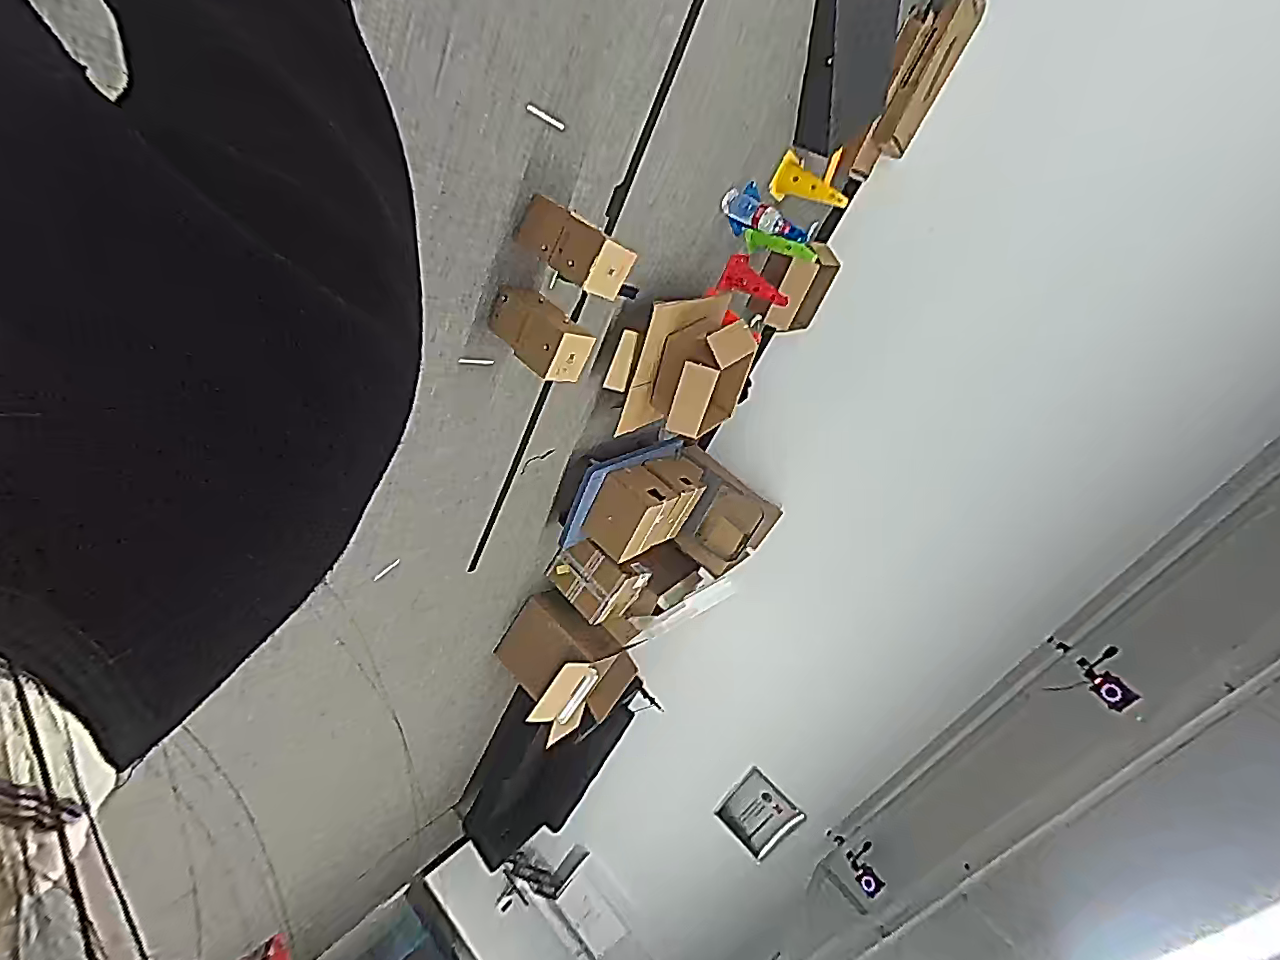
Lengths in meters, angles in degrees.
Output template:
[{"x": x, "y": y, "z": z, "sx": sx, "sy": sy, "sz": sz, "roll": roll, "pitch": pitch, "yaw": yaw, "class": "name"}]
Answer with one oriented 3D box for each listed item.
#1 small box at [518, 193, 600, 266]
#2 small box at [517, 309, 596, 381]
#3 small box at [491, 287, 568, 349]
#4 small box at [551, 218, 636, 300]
[{"x": -0.269, "y": -0.799, "z": 1.763, "sx": 0.168, "sy": 0.176, "sz": 0.179, "roll": -7, "pitch": 133, "yaw": -60, "class": "small box"}, {"x": -0.287, "y": -0.456, "z": 1.829, "sx": 0.168, "sy": 0.176, "sz": 0.179, "roll": -12, "pitch": 137, "yaw": -56, "class": "small box"}, {"x": -0.393, "y": -0.560, "z": 1.903, "sx": 0.179, "sy": 0.176, "sz": 0.168, "roll": -16, "pitch": 141, "yaw": -55, "class": "small box"}, {"x": -0.151, "y": -0.701, "z": 1.711, "sx": 0.179, "sy": 0.176, "sz": 0.168, "roll": -11, "pitch": 138, "yaw": -59, "class": "small box"}]
